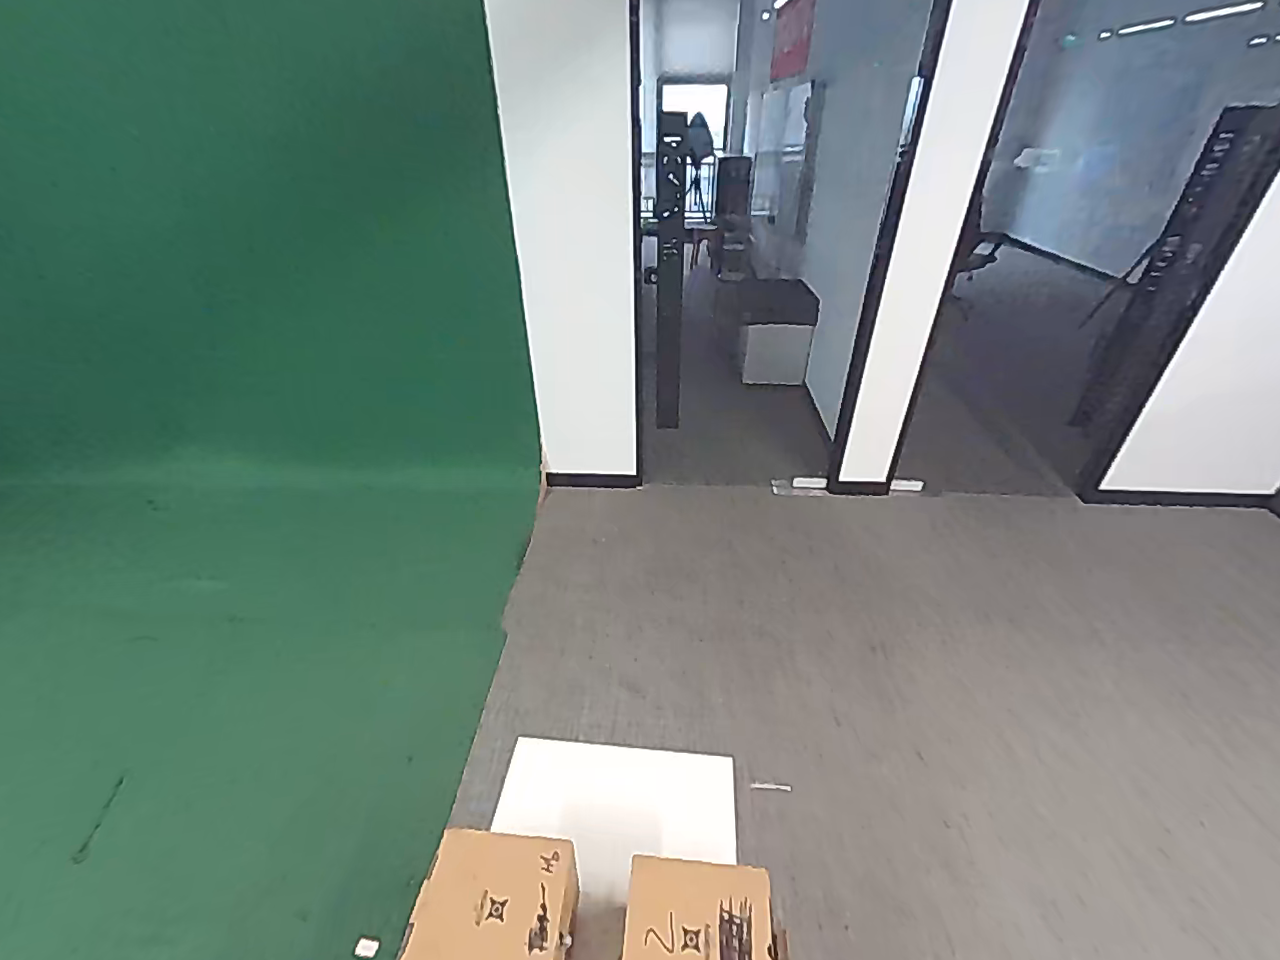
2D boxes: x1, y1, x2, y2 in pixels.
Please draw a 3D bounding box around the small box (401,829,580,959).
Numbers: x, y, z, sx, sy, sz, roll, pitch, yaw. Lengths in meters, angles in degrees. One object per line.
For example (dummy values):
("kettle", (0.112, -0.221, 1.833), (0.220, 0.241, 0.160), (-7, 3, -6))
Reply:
("small box", (-0.181, 0.586, 0.699), (0.179, 0.176, 0.168), (3, 34, 4))
